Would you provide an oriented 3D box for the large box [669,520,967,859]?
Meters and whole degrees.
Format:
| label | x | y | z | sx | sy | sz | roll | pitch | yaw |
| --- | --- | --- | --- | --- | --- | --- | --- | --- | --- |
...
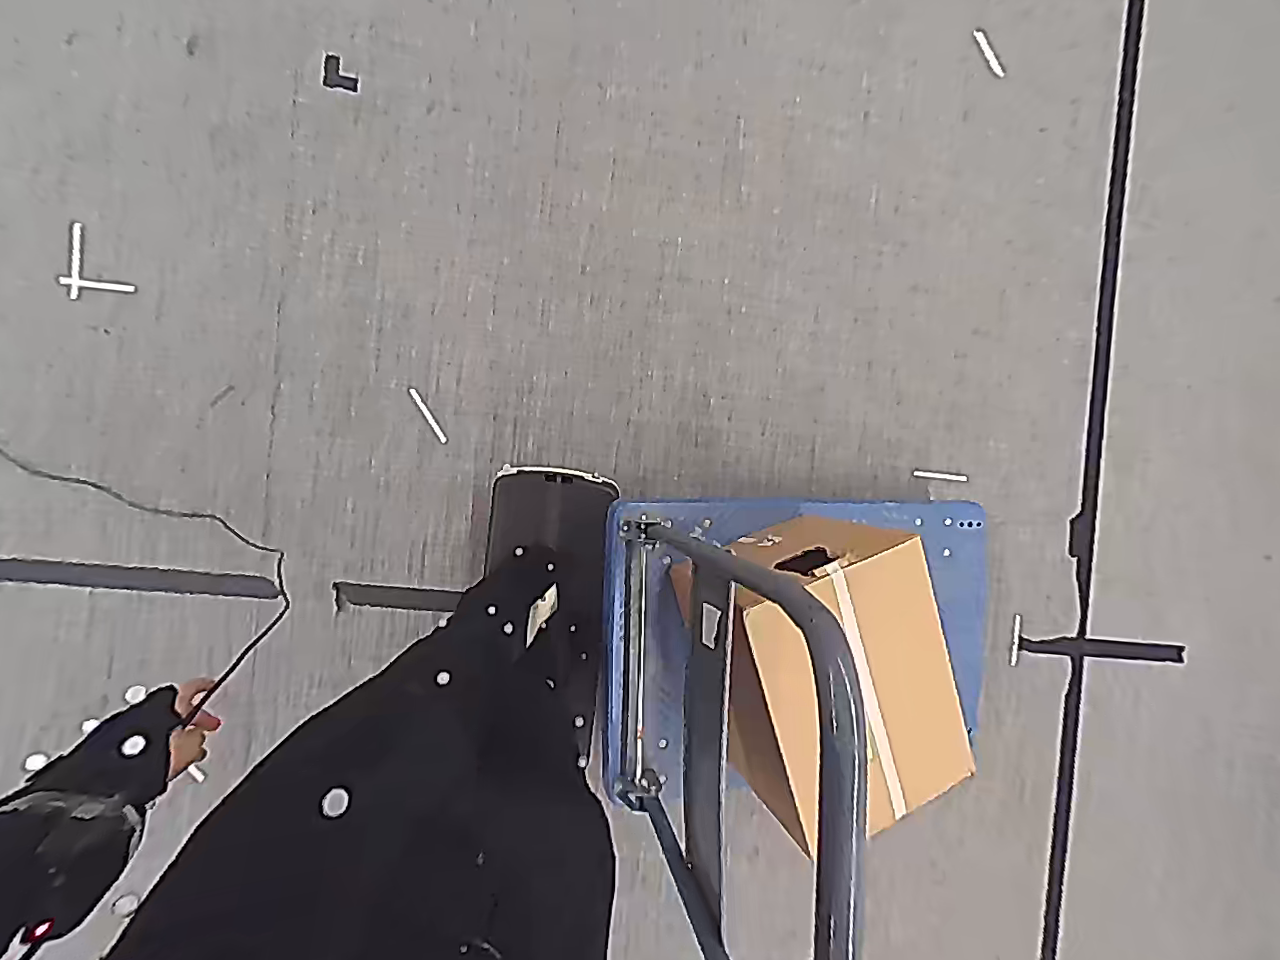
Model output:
| label | x | y | z | sx | sy | sz | roll | pitch | yaw |
| --- | --- | --- | --- | --- | --- | --- | --- | --- | --- |
| large box | 0.289 | 0.318 | 0.948 | 0.320 | 0.320 | 0.408 | -18 | 97 | -15 |
